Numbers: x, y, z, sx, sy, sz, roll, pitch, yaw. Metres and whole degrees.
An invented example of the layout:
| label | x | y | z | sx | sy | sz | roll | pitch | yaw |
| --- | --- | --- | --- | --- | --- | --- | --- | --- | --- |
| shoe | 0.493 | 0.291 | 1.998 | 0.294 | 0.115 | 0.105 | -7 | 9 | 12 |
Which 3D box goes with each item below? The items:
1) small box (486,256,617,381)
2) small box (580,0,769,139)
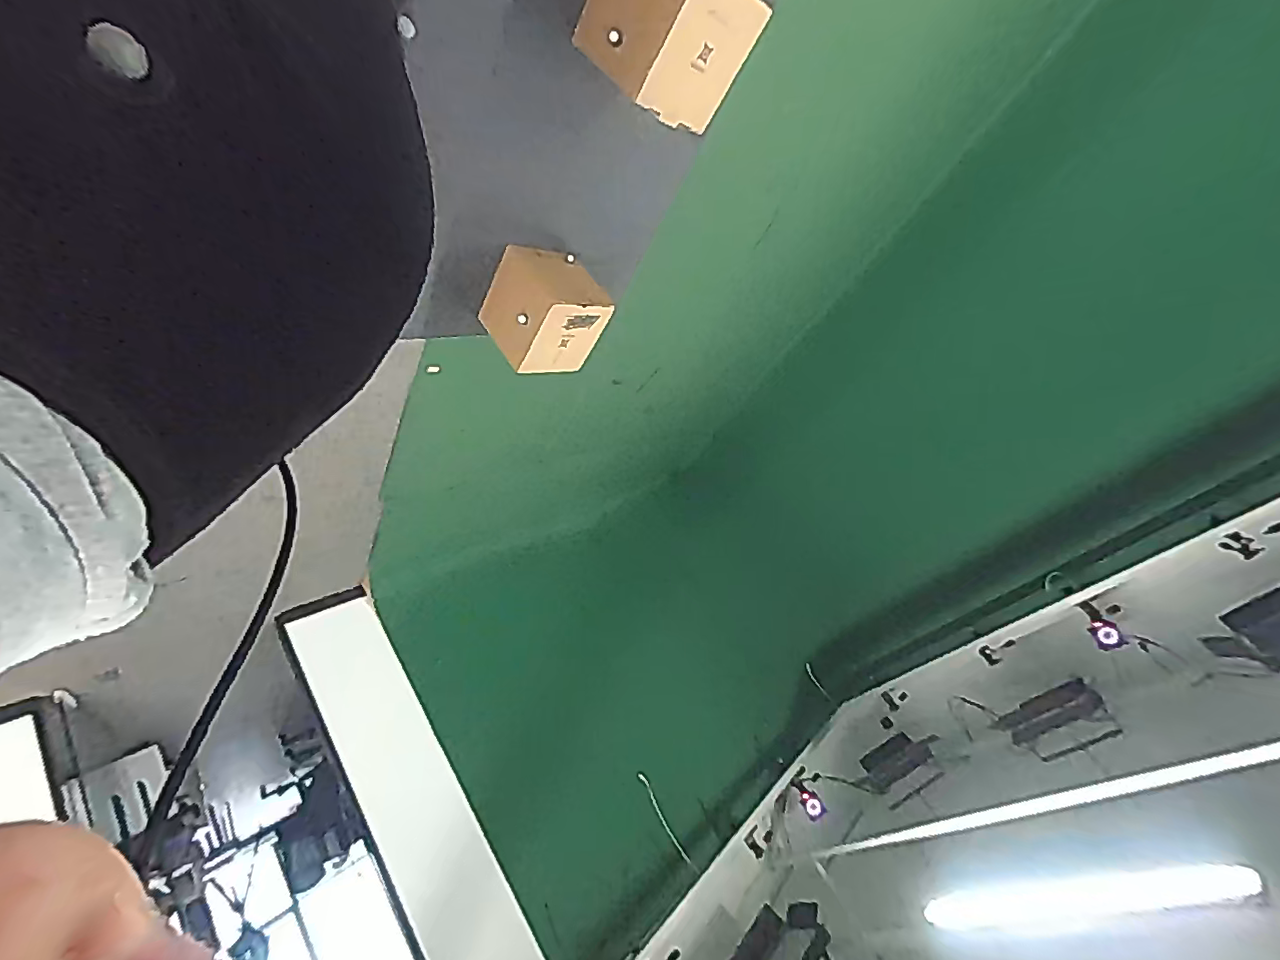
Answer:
| label | x | y | z | sx | sy | sz | roll | pitch | yaw |
| --- | --- | --- | --- | --- | --- | --- | --- | --- | --- |
| small box | -0.184 | -0.323 | 1.089 | 0.168 | 0.176 | 0.179 | -15 | 152 | -47 |
| small box | 0.040 | -0.634 | 0.765 | 0.168 | 0.176 | 0.179 | -18 | 153 | -47 |
